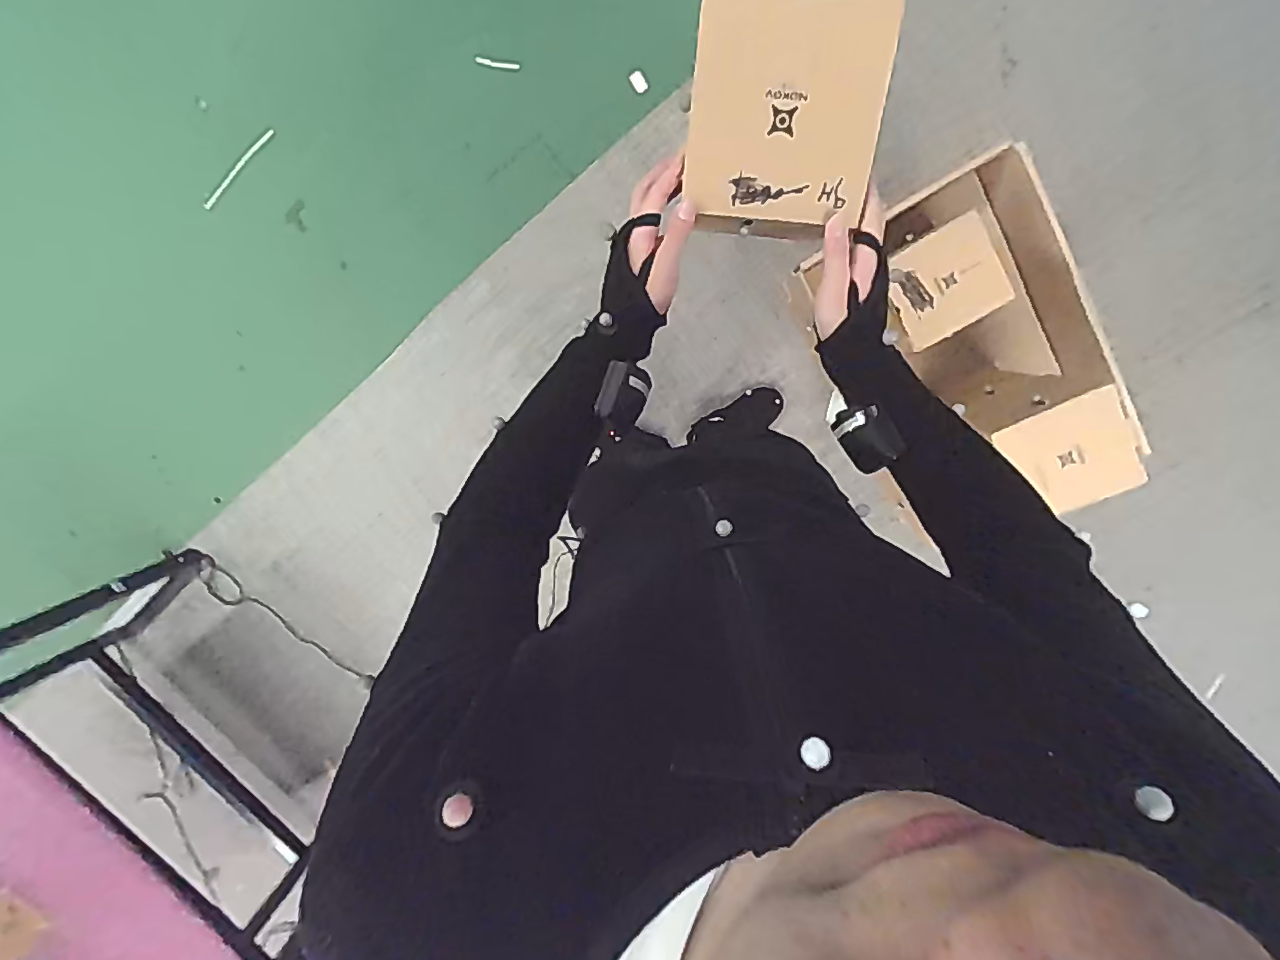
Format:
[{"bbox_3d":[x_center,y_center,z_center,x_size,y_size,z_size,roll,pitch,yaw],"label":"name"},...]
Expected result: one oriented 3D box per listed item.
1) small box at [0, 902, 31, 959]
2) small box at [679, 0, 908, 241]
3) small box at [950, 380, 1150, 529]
[{"bbox_3d":[-1.646,1.154,1.294,0.179,0.176,0.168,-37,98,13],"label":"small box"},{"bbox_3d":[0.130,-0.343,0.534,0.168,0.176,0.179,7,111,2],"label":"small box"},{"bbox_3d":[0.644,-0.050,0.870,0.179,0.176,0.168,-25,100,12],"label":"small box"}]
